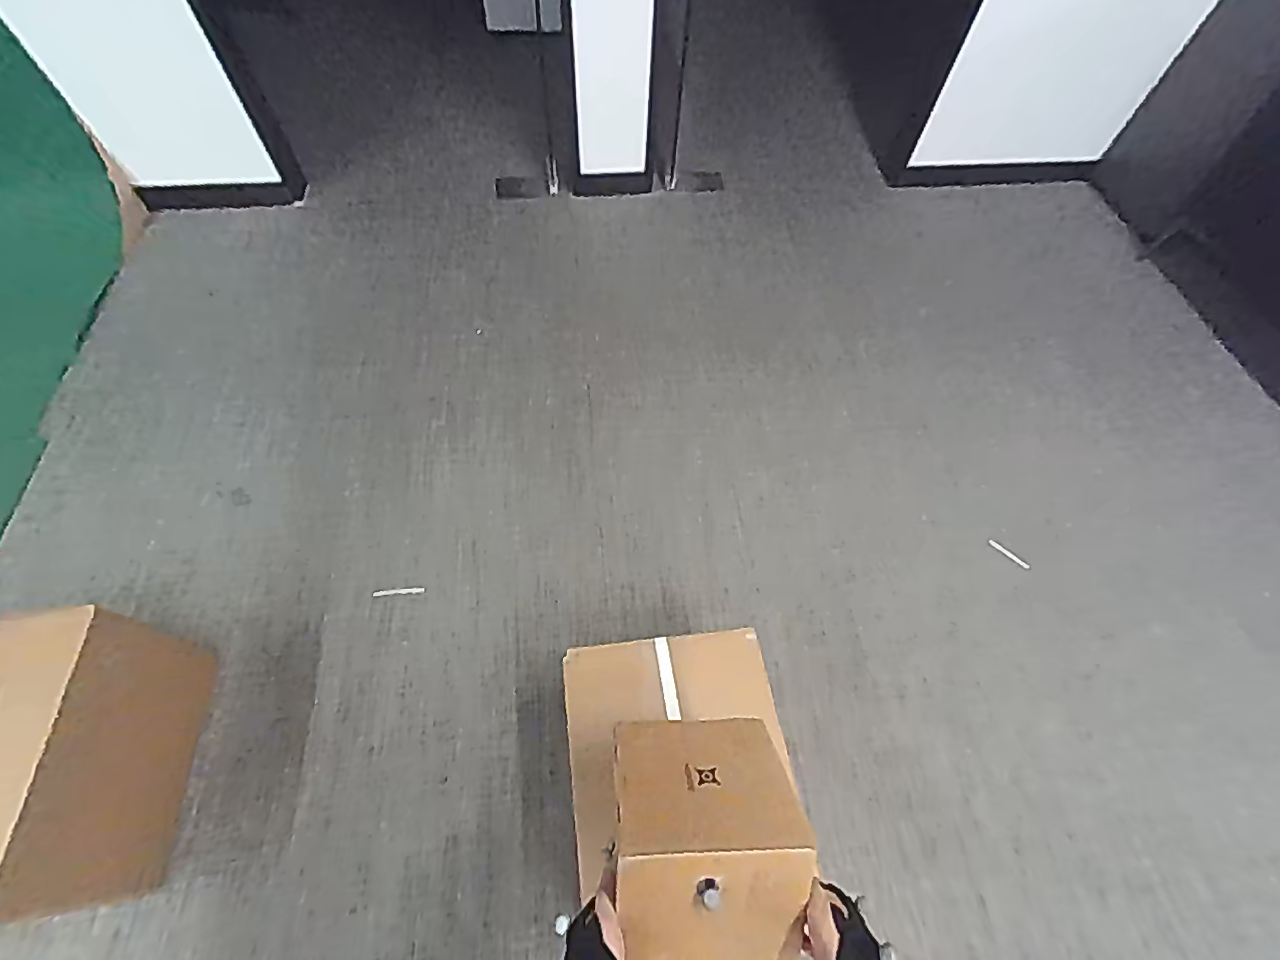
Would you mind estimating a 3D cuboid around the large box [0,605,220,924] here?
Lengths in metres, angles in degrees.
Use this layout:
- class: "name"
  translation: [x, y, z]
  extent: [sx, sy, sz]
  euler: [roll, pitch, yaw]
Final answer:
- class: "large box"
  translation: [-0.965, 0.458, 0.859]
  extent: [0.320, 0.320, 0.408]
  euler: [-6, 59, -6]

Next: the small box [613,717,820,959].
- class: "small box"
  translation: [0.063, 0.374, 0.562]
  extent: [0.179, 0.176, 0.168]
  euler: [1, 16, -4]
